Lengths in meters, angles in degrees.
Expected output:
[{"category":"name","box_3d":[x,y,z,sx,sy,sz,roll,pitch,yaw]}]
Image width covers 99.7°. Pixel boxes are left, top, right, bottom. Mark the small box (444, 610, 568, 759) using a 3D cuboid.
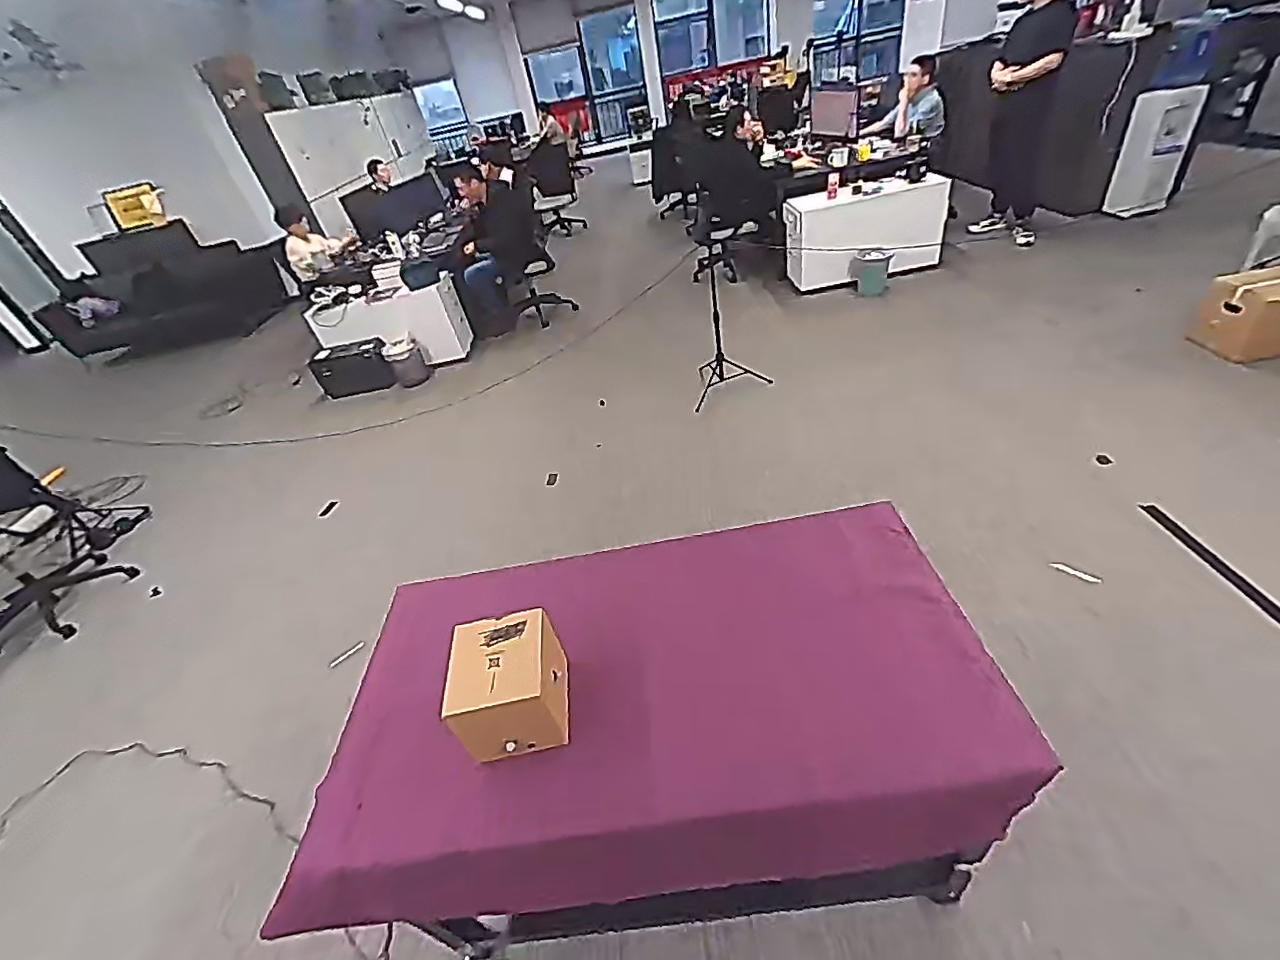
[{"category":"small box","box_3d":[-0.229,0.366,0.973,0.168,0.176,0.179,-12,38,1]}]
